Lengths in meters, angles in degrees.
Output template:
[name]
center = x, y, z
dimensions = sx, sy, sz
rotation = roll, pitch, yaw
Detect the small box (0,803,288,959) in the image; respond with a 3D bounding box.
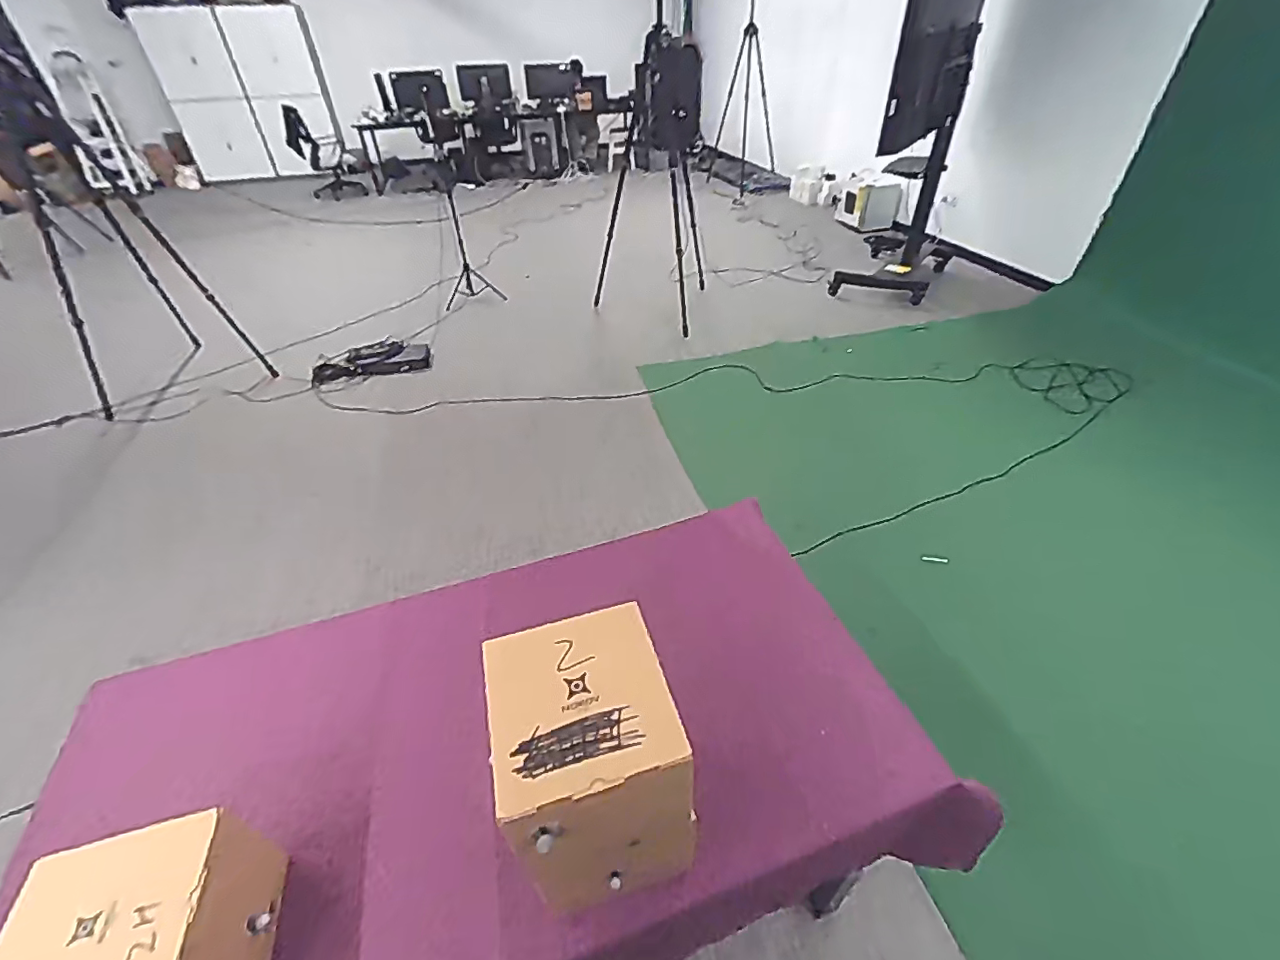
[small box]
center = -0.514, 0.481, 0.567
dimensions = 0.179, 0.176, 0.168
rotation = -12, 41, -11
